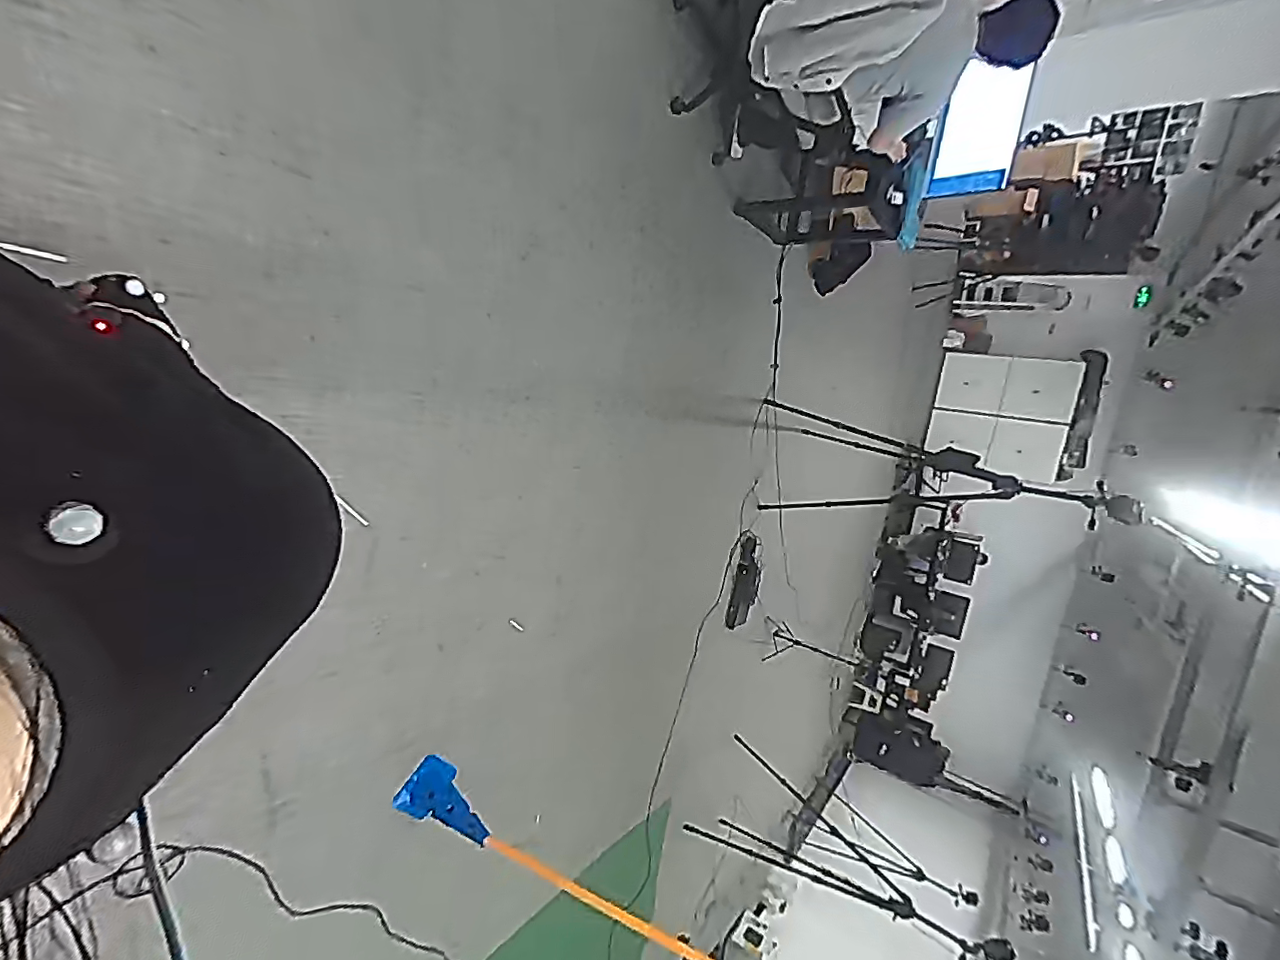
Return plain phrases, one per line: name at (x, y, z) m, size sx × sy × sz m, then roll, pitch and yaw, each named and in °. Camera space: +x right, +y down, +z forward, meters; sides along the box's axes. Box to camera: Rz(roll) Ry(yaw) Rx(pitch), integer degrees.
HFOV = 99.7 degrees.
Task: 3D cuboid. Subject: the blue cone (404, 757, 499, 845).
blue cone at (-0.636, 1.167, 1.910) m, size 0.193 × 0.380 × 0.192 m, roll -55°, pitch 139°, yaw -29°
